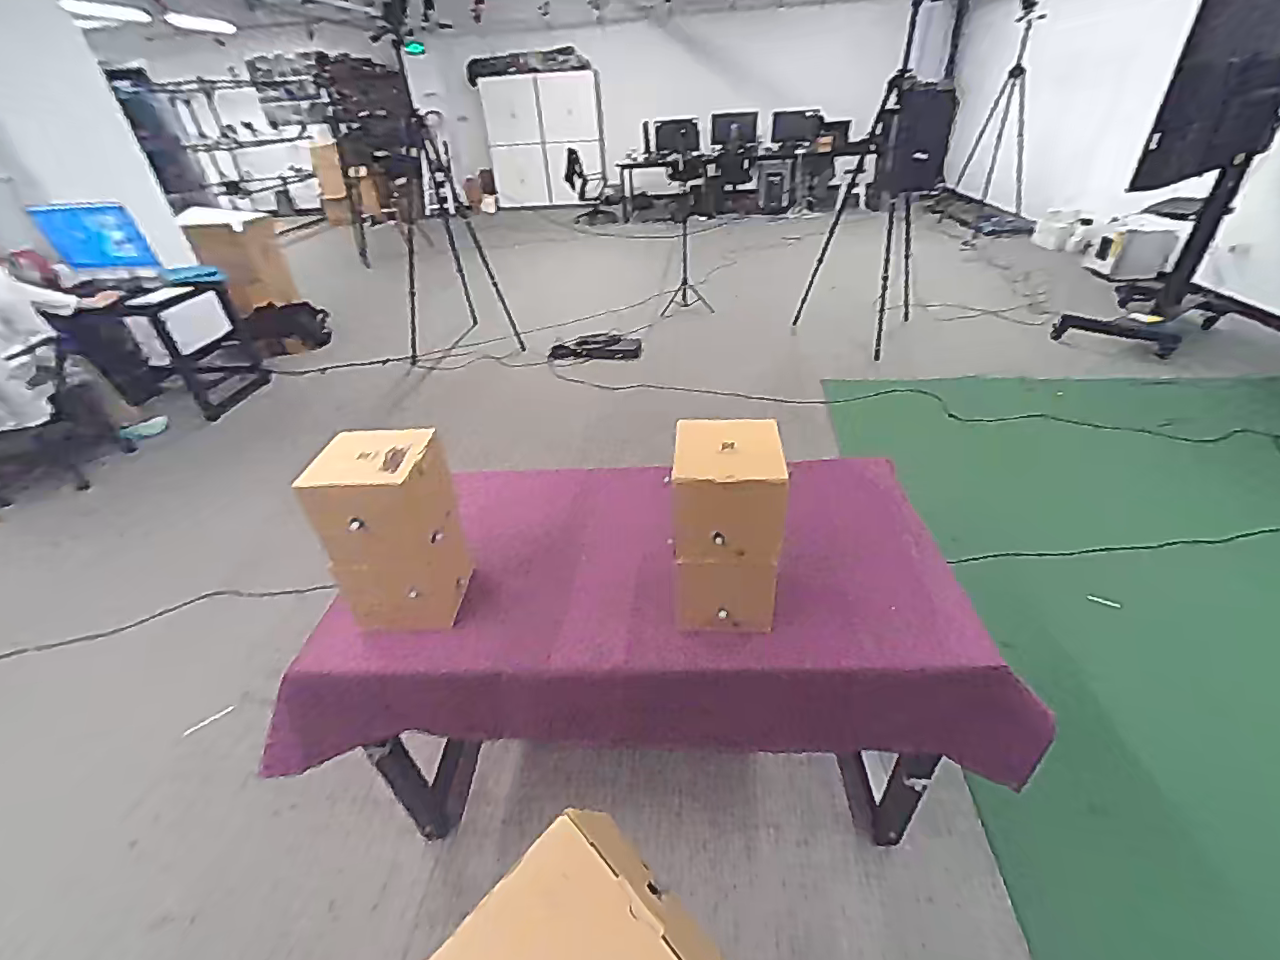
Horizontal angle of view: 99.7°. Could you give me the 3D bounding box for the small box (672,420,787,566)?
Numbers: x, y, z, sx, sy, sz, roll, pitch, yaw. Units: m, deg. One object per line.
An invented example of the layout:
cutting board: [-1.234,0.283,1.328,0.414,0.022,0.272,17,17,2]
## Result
small box: [0.137,0.017,0.879,0.168,0.176,0.179,0,37,6]

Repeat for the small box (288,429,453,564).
small box: [-0.438,0.028,0.918,0.179,0.176,0.168,-2,35,2]

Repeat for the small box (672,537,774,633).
small box: [0.144,0.150,0.974,0.168,0.176,0.179,0,36,6]
